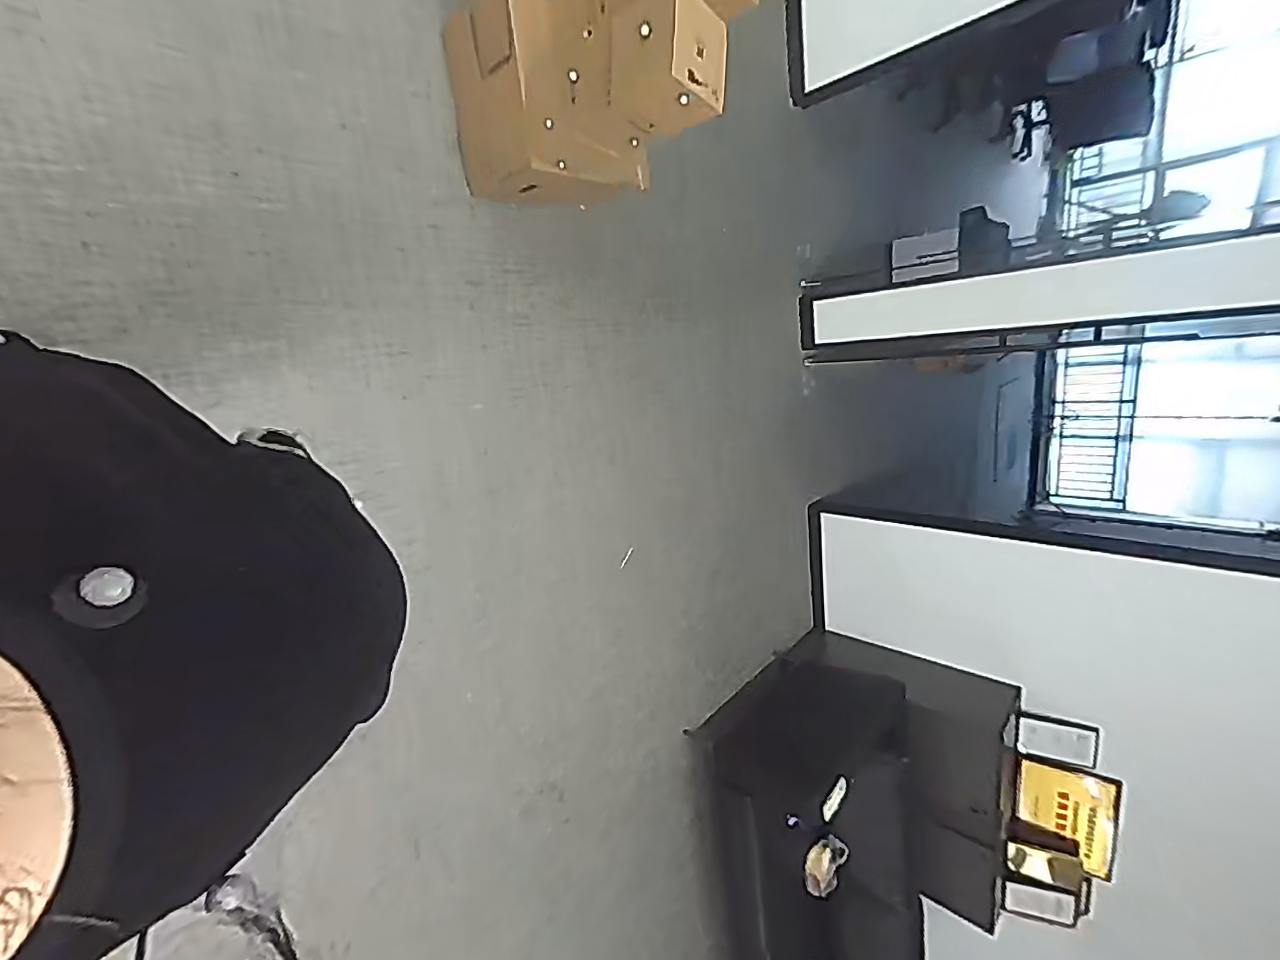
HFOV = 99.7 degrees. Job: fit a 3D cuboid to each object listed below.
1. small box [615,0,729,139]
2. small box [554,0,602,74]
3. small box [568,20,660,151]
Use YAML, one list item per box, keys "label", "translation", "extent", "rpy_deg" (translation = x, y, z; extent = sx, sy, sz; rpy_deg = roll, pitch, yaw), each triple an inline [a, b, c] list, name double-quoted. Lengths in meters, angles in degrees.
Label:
- label: "small box"
  translation: [0.064, -0.843, 1.103]
  extent: [0.168, 0.176, 0.179]
  rpy_deg: [-3, 97, -46]
- label: "small box"
  translation: [-0.097, -1.133, 1.372]
  extent: [0.168, 0.176, 0.179]
  rpy_deg: [-23, 112, -44]
- label: "small box"
  translation: [-0.044, -0.875, 1.225]
  extent: [0.179, 0.176, 0.168]
  rpy_deg: [-10, 103, -45]
